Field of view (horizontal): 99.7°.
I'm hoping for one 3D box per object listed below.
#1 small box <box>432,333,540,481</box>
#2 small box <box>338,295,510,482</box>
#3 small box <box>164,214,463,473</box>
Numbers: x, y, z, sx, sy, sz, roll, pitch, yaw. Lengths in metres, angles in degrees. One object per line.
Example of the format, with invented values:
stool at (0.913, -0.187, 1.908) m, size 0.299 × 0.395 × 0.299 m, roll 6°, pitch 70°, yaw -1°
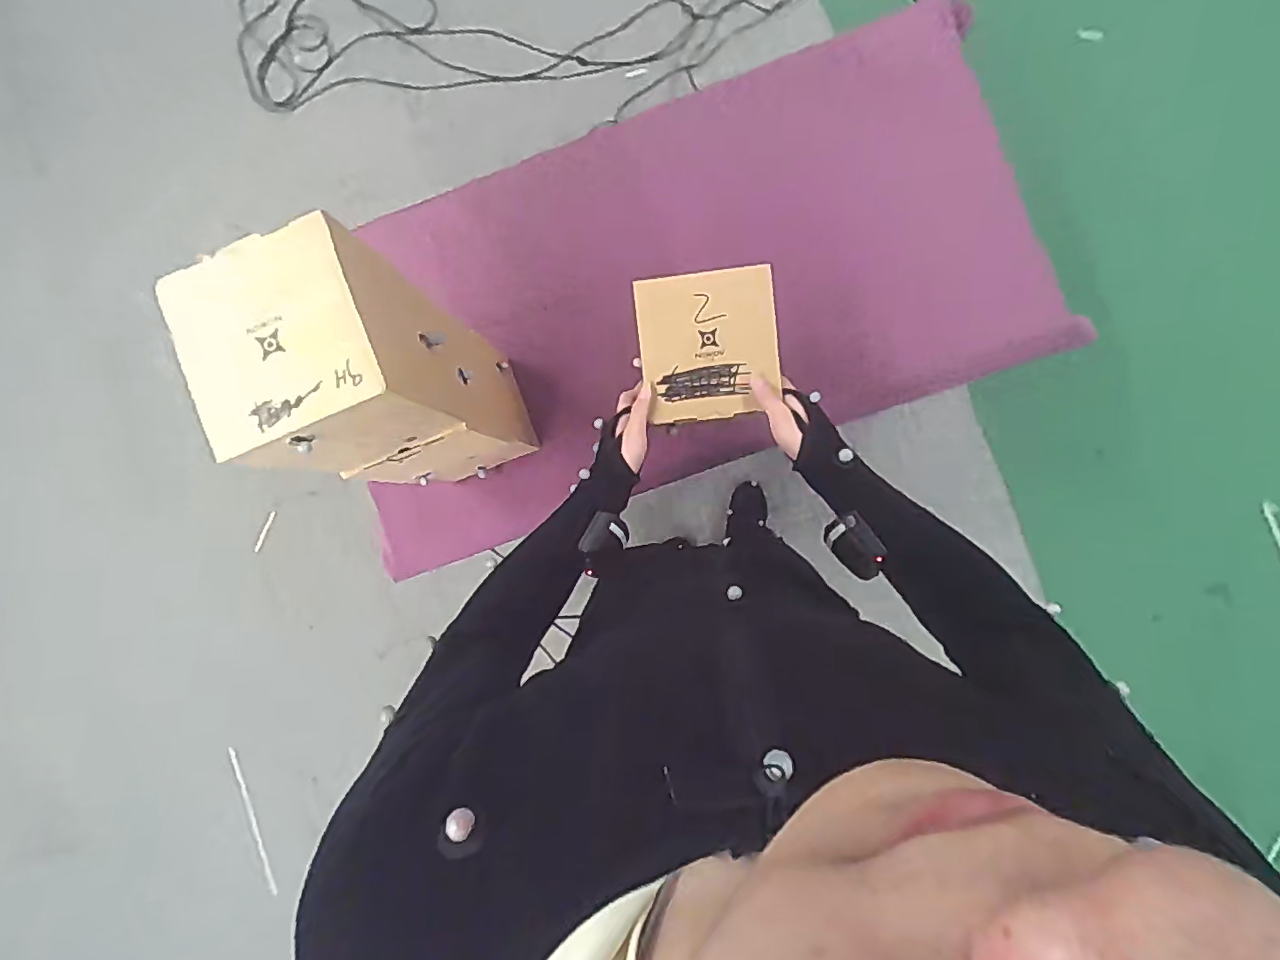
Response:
small box at (-0.280, -0.106, 0.870) m, size 0.168 × 0.176 × 0.179 m, roll -21°, pitch 87°, yaw 4°
small box at (-0.291, -0.104, 0.707) m, size 0.168 × 0.176 × 0.179 m, roll -22°, pitch 85°, yaw 4°
small box at (-0.308, -0.118, 0.544) m, size 0.168 × 0.176 × 0.179 m, roll -22°, pitch 85°, yaw 5°
